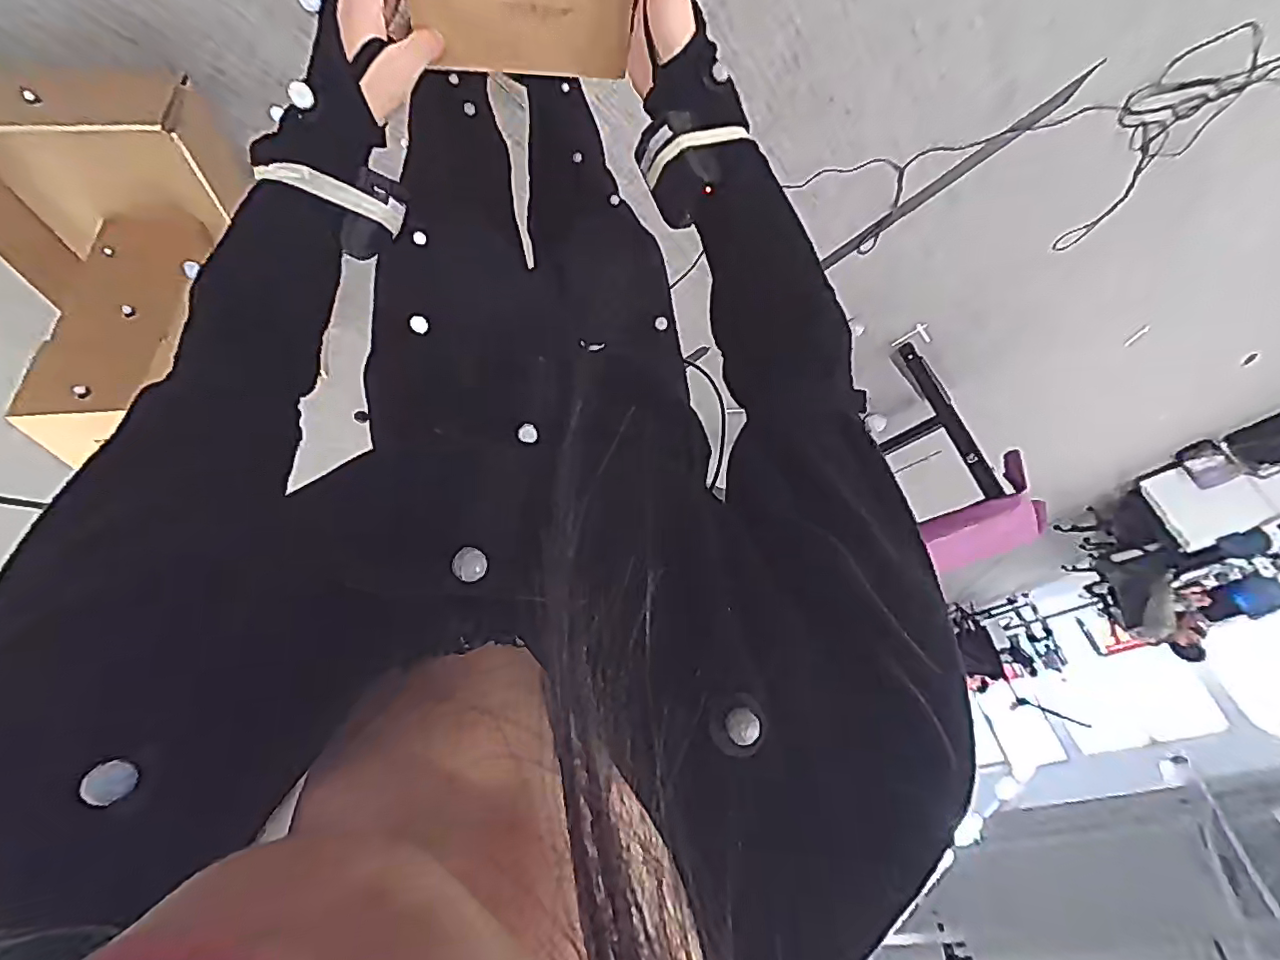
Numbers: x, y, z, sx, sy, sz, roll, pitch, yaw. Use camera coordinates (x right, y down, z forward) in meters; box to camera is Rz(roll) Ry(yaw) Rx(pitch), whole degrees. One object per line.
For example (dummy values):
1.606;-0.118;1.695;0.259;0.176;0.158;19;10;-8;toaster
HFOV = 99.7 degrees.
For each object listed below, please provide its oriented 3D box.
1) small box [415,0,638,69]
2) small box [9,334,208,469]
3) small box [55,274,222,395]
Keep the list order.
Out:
-0.090;-0.446;0.394;0.168;0.176;0.179;-6;154;-11;small box
-0.914;-0.139;0.953;0.179;0.176;0.168;-6;150;-13;small box
-0.940;-0.276;1.039;0.179;0.176;0.168;-6;150;-14;small box
